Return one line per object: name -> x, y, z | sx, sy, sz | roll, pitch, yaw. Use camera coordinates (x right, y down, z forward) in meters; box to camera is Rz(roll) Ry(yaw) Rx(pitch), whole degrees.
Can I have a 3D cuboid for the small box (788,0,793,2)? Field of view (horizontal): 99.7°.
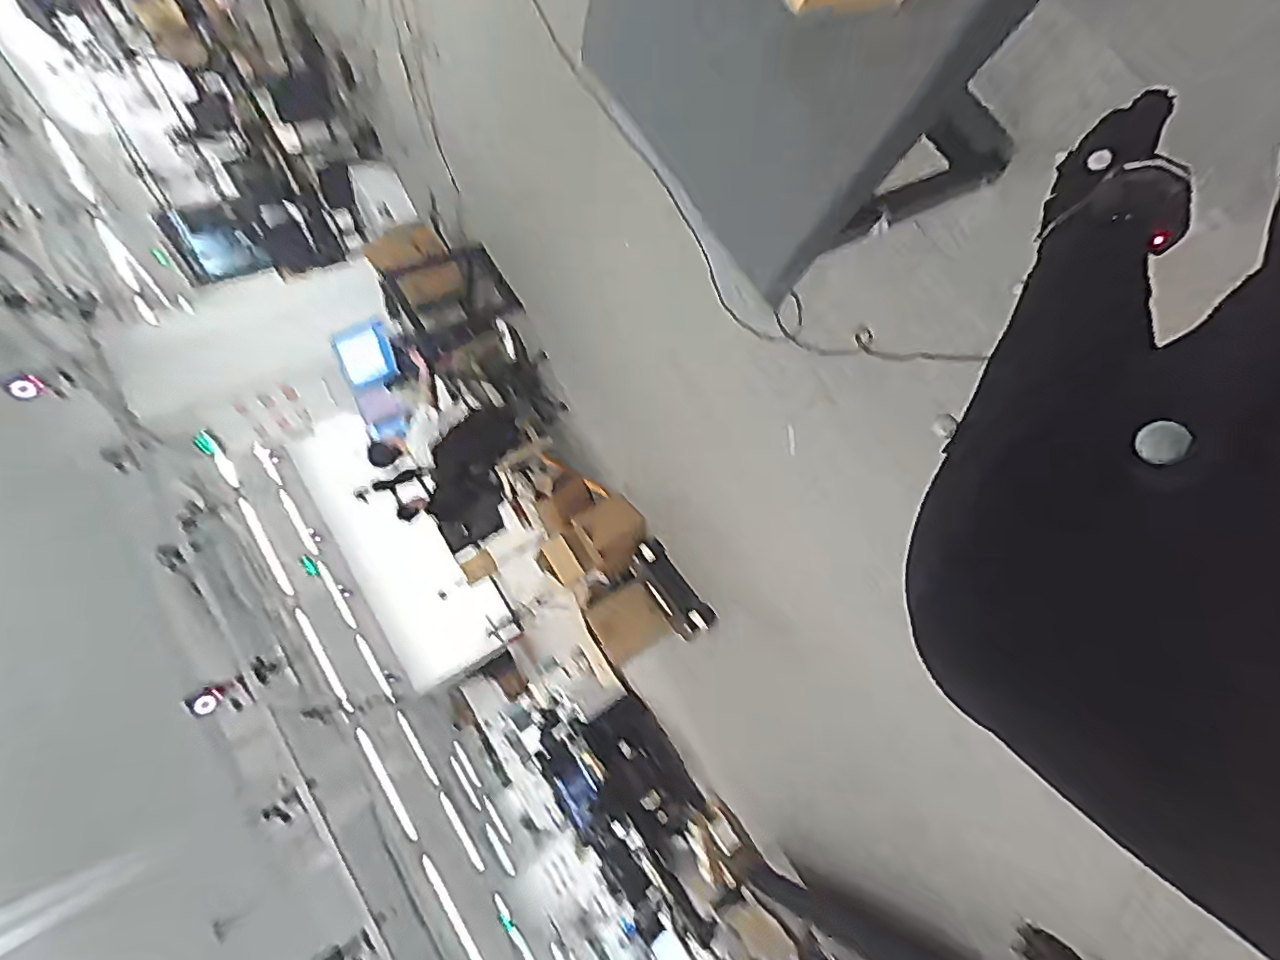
small box -> 0.199, -0.586, 0.483 | 0.168, 0.176, 0.179 | 60, 155, 5
